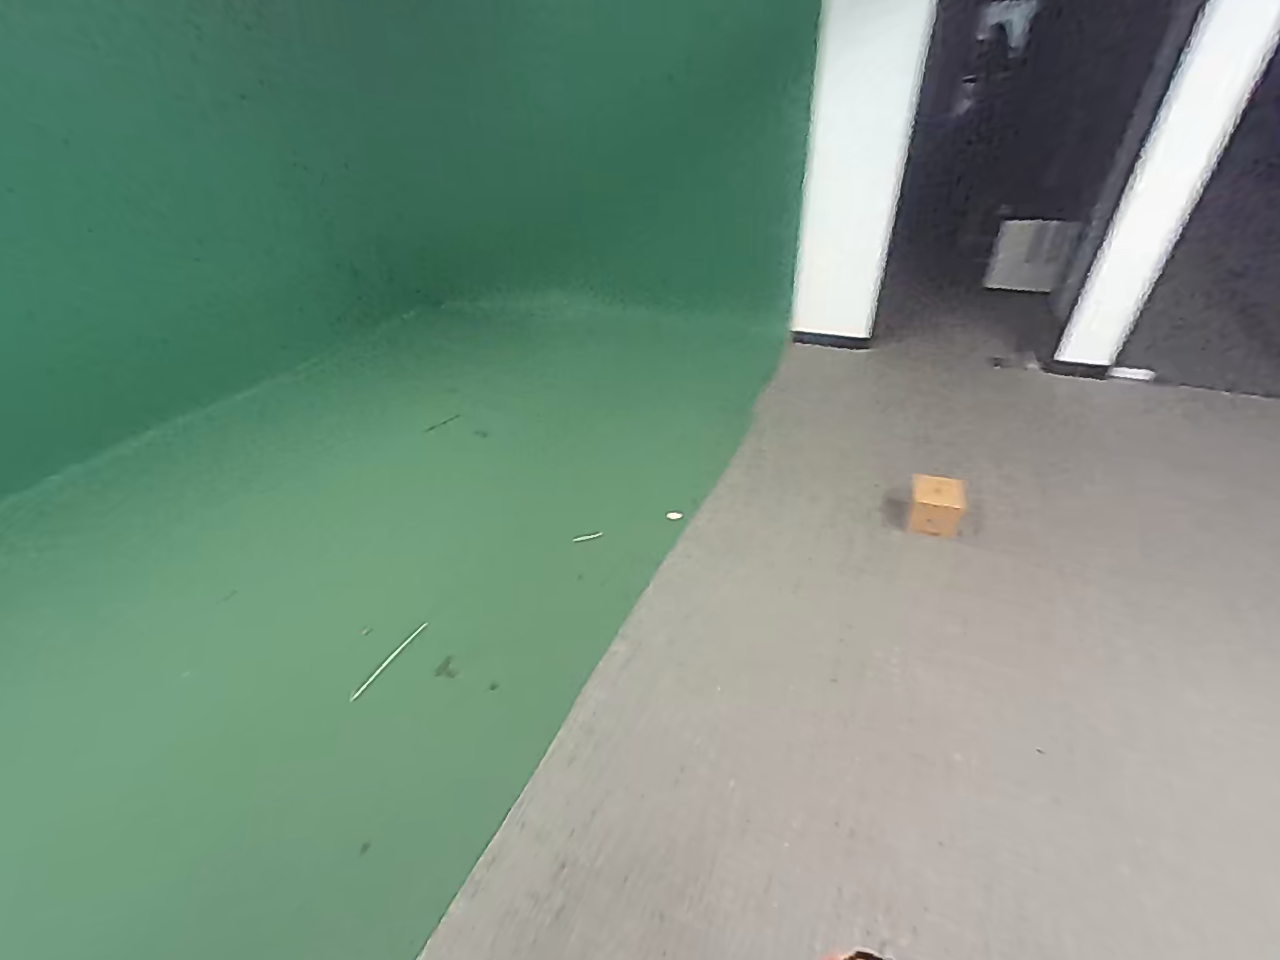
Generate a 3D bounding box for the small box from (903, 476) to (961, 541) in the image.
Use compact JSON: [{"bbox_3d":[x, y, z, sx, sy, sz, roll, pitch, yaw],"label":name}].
[{"bbox_3d":[1.123,0.111,2.086,0.168,0.176,0.179,10,41,18],"label":"small box"}]
